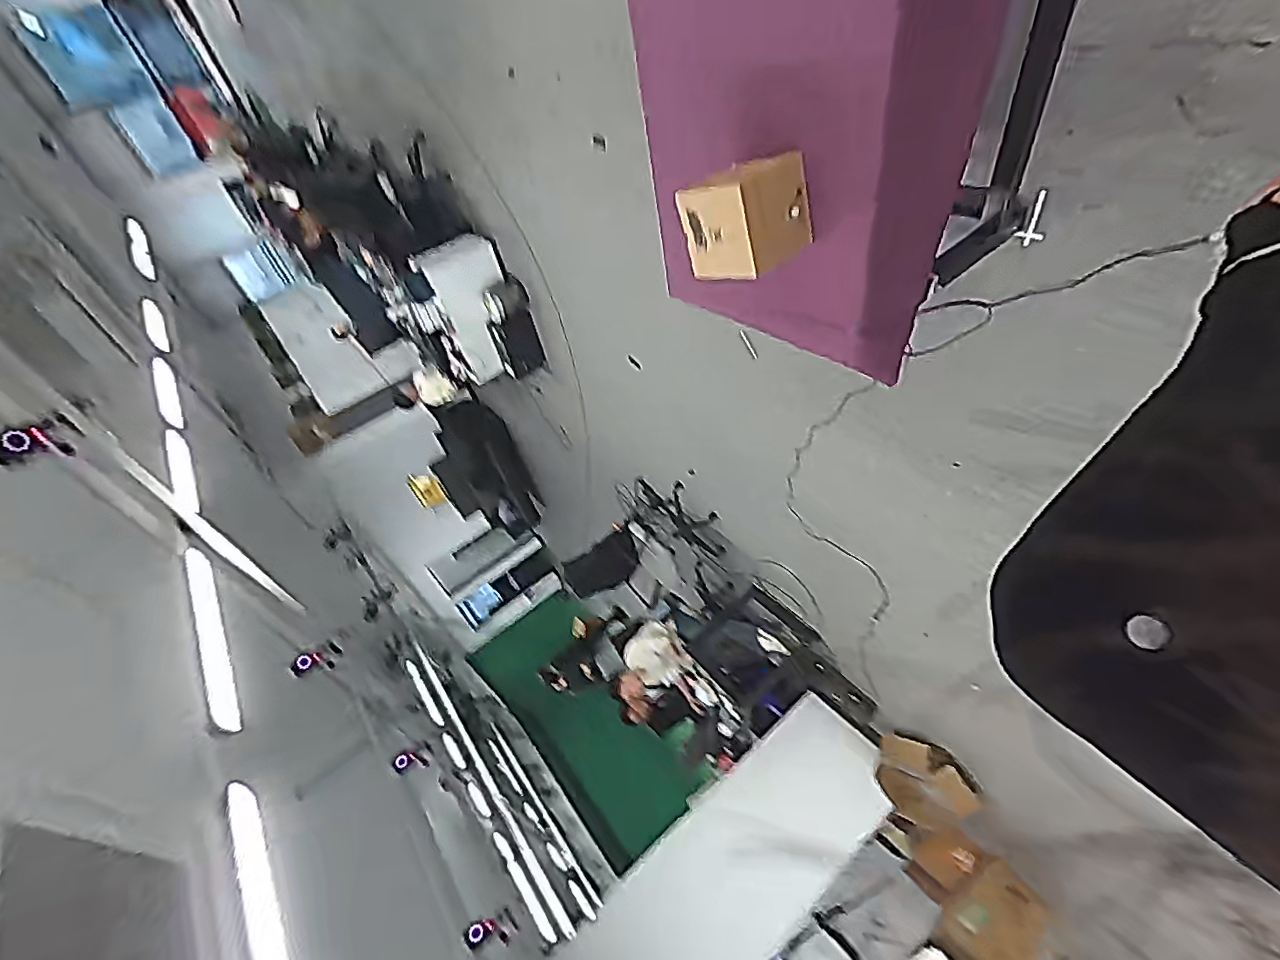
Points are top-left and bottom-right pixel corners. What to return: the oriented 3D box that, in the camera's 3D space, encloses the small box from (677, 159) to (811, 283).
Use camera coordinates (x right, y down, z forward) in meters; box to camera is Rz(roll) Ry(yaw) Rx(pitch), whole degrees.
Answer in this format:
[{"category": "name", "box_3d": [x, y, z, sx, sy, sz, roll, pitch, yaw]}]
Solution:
[{"category": "small box", "box_3d": [0.205, -0.502, 1.057, 0.179, 0.176, 0.168, 27, 147, 50]}]
